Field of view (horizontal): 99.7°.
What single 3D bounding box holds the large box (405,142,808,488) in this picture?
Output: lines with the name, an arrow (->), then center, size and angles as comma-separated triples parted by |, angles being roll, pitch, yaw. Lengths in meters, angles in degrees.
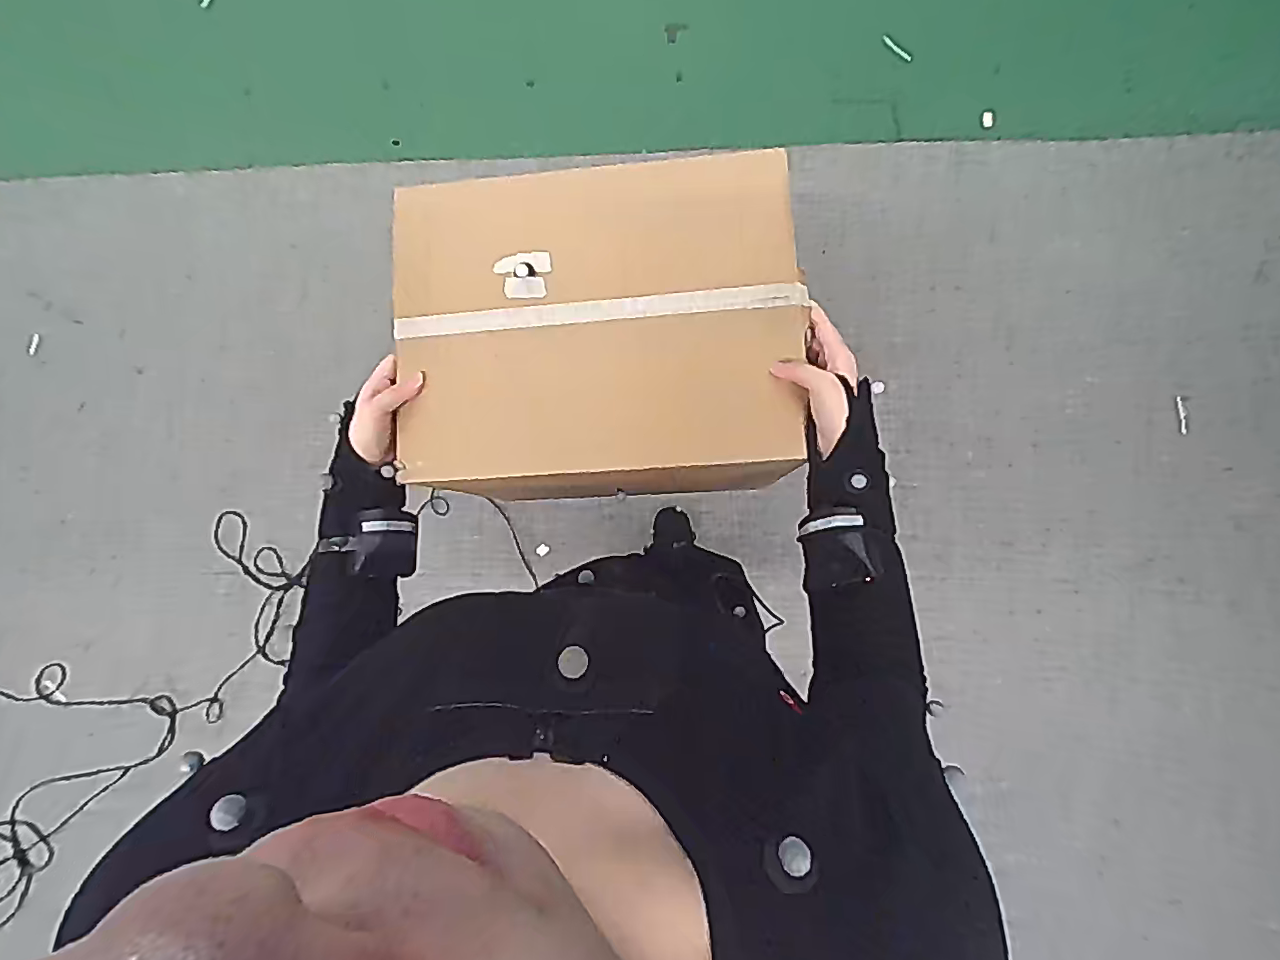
large box -> -0.028, -0.161, 0.693 | 0.408, 0.320, 0.320 | -4, 84, 6
